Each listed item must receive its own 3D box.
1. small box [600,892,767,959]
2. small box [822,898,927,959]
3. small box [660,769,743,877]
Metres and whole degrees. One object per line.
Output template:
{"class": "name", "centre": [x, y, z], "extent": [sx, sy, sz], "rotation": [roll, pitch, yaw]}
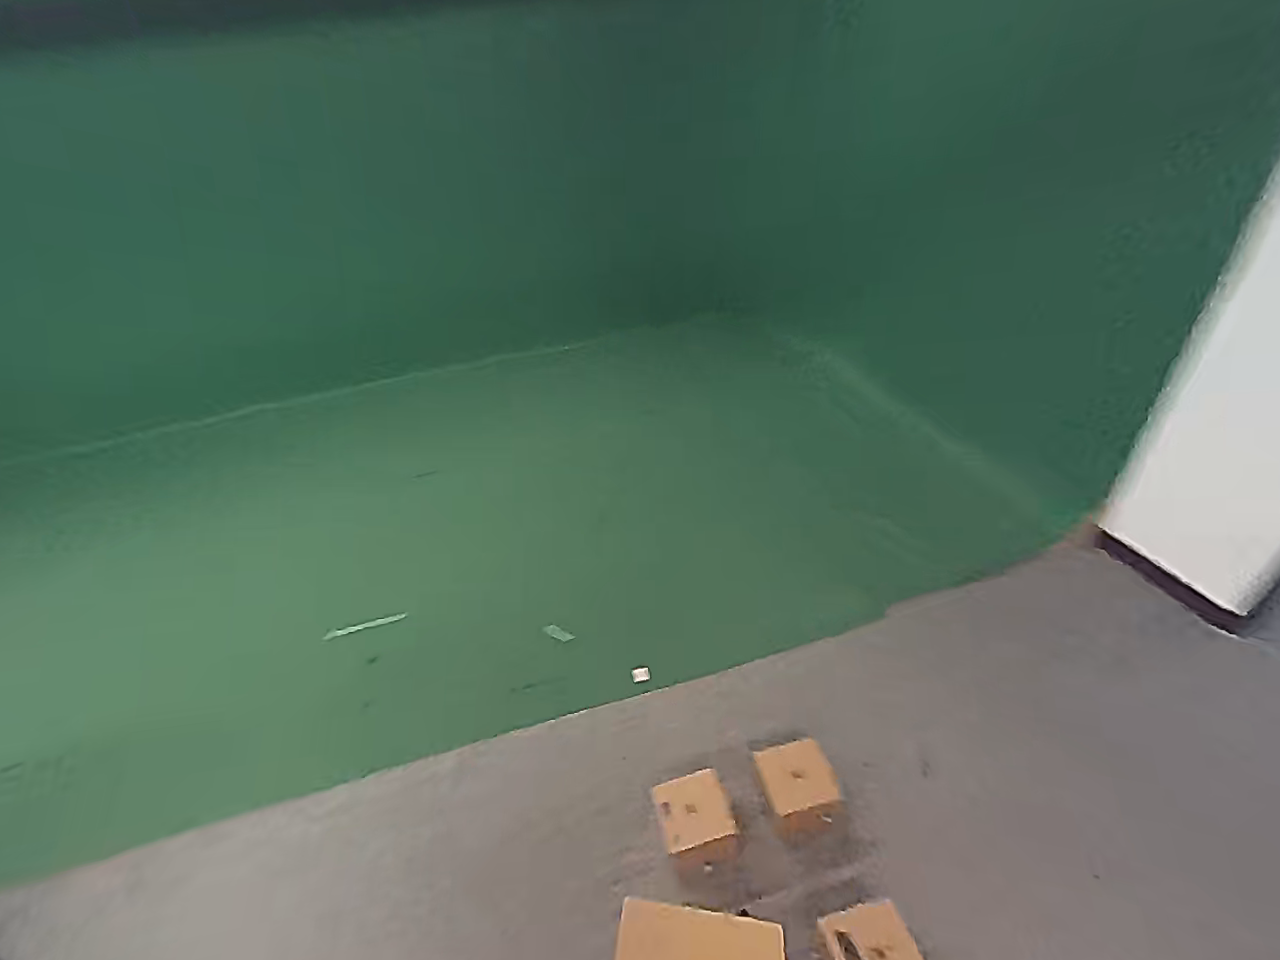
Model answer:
{"class": "small box", "centre": [0.033, 0.554, 0.530], "extent": [0.168, 0.176, 0.179], "rotation": [5, 30, 5]}
{"class": "small box", "centre": [0.502, 1.037, 1.151], "extent": [0.179, 0.176, 0.168], "rotation": [-12, 37, -5]}
{"class": "small box", "centre": [0.158, 0.896, 1.413], "extent": [0.179, 0.176, 0.168], "rotation": [-13, 36, -7]}
